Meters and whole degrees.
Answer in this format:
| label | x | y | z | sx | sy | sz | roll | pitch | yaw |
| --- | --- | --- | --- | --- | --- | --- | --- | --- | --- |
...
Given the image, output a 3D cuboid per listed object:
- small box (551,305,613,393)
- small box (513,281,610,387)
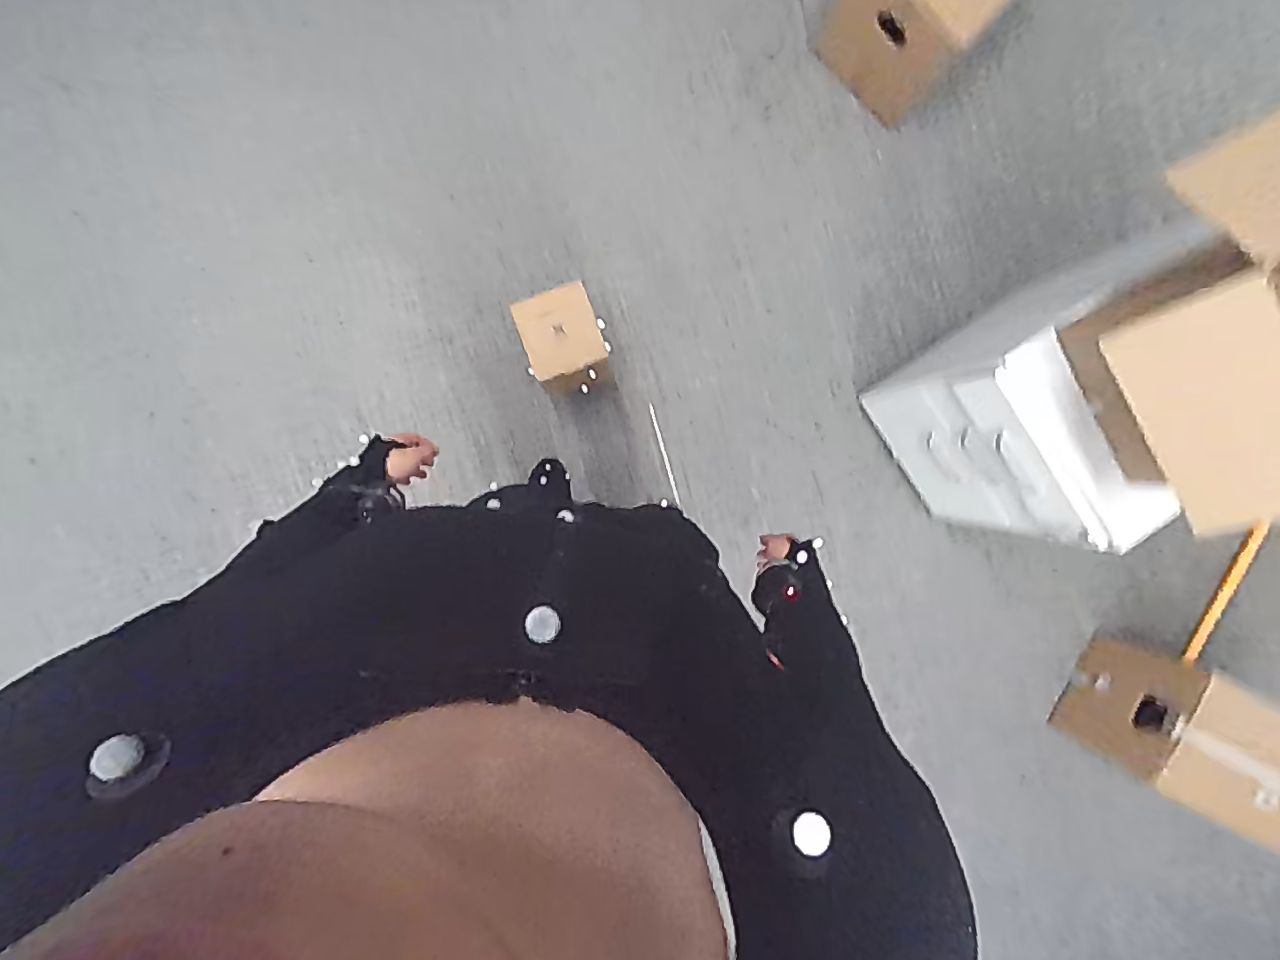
| label | x | y | z | sx | sy | sz | roll | pitch | yaw |
| --- | --- | --- | --- | --- | --- | --- | --- | --- | --- |
| small box | -0.170 | -0.333 | 1.402 | 0.168 | 0.176 | 0.179 | -18 | 93 | -2 |
| small box | -0.172 | -0.323 | 1.239 | 0.168 | 0.176 | 0.179 | -21 | 92 | -3 |
